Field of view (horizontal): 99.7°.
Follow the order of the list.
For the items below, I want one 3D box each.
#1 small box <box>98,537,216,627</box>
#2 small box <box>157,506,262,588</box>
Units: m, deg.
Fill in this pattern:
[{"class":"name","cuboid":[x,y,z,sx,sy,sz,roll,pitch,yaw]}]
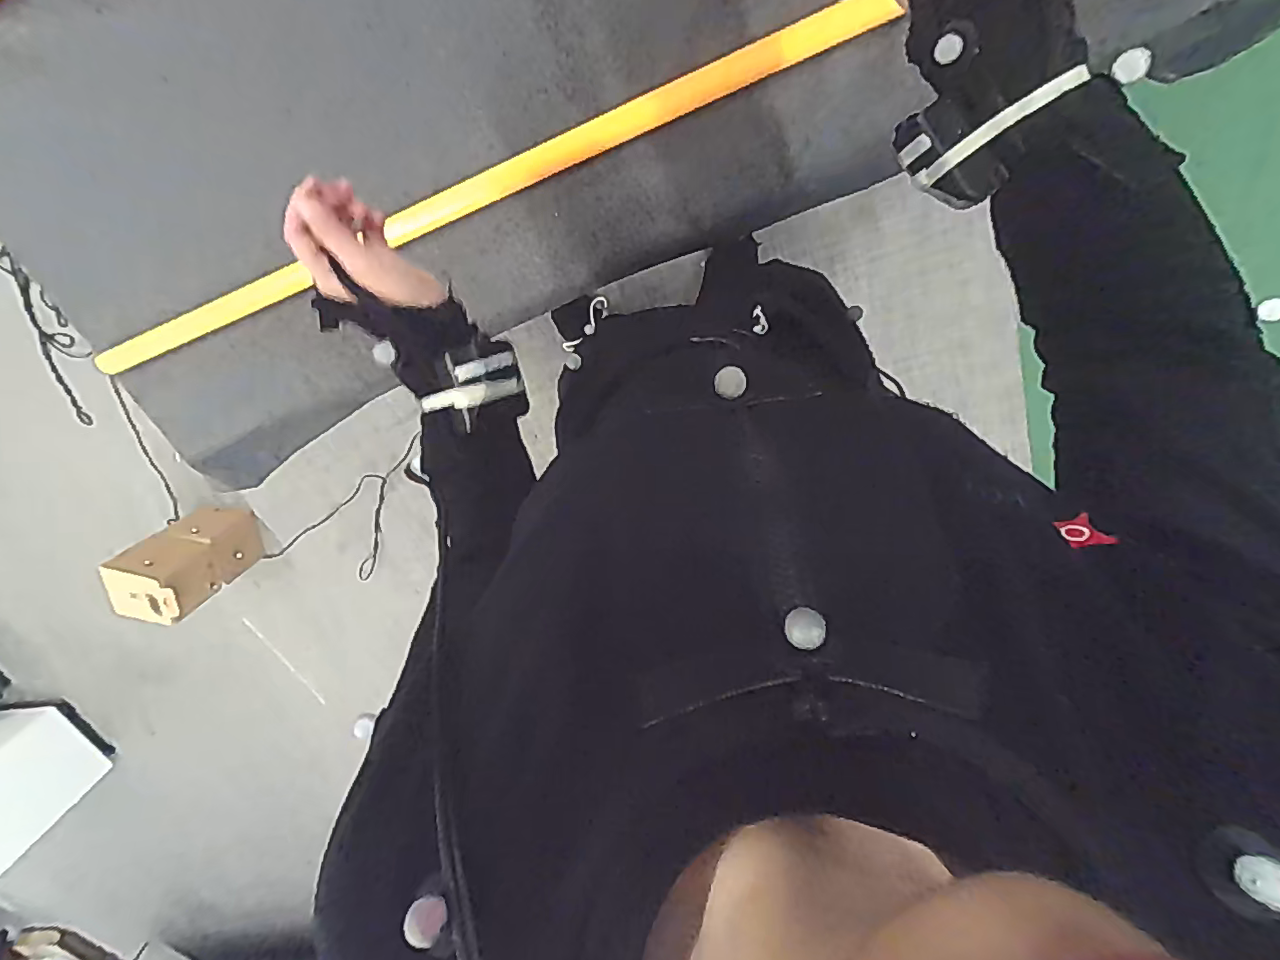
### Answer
[{"class":"small box","cuboid":[-1.338,0.280,1.517,0.179,0.176,0.168,12,117,2]},{"class":"small box","cuboid":[-1.307,0.203,1.660,0.168,0.176,0.179,7,118,4]}]
